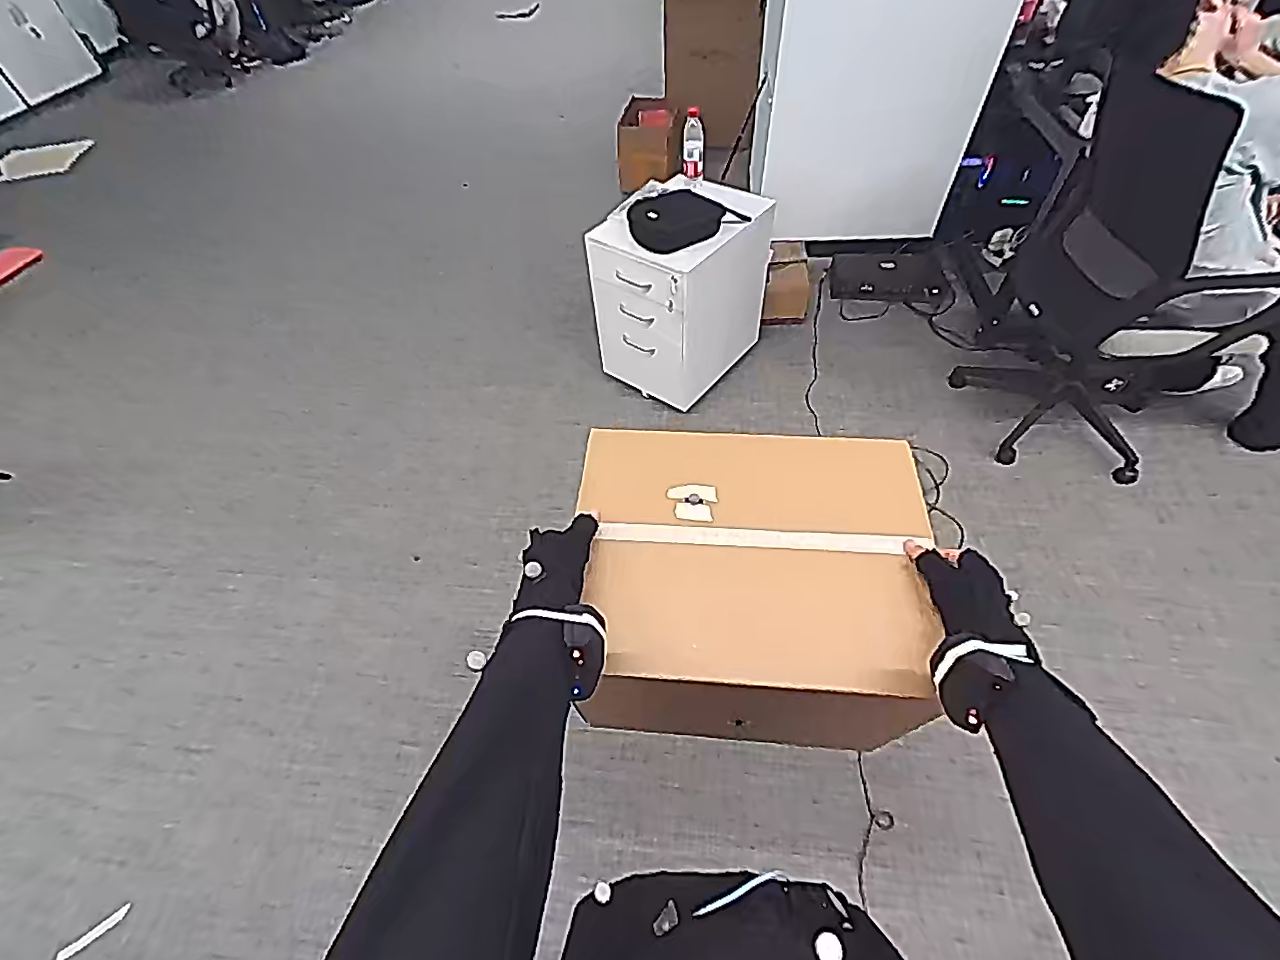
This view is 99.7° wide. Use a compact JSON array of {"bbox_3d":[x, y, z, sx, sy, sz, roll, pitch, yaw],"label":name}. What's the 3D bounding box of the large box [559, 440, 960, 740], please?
[{"bbox_3d":[0.134,0.160,0.743,0.408,0.320,0.320,2,55,5],"label":"large box"}]
